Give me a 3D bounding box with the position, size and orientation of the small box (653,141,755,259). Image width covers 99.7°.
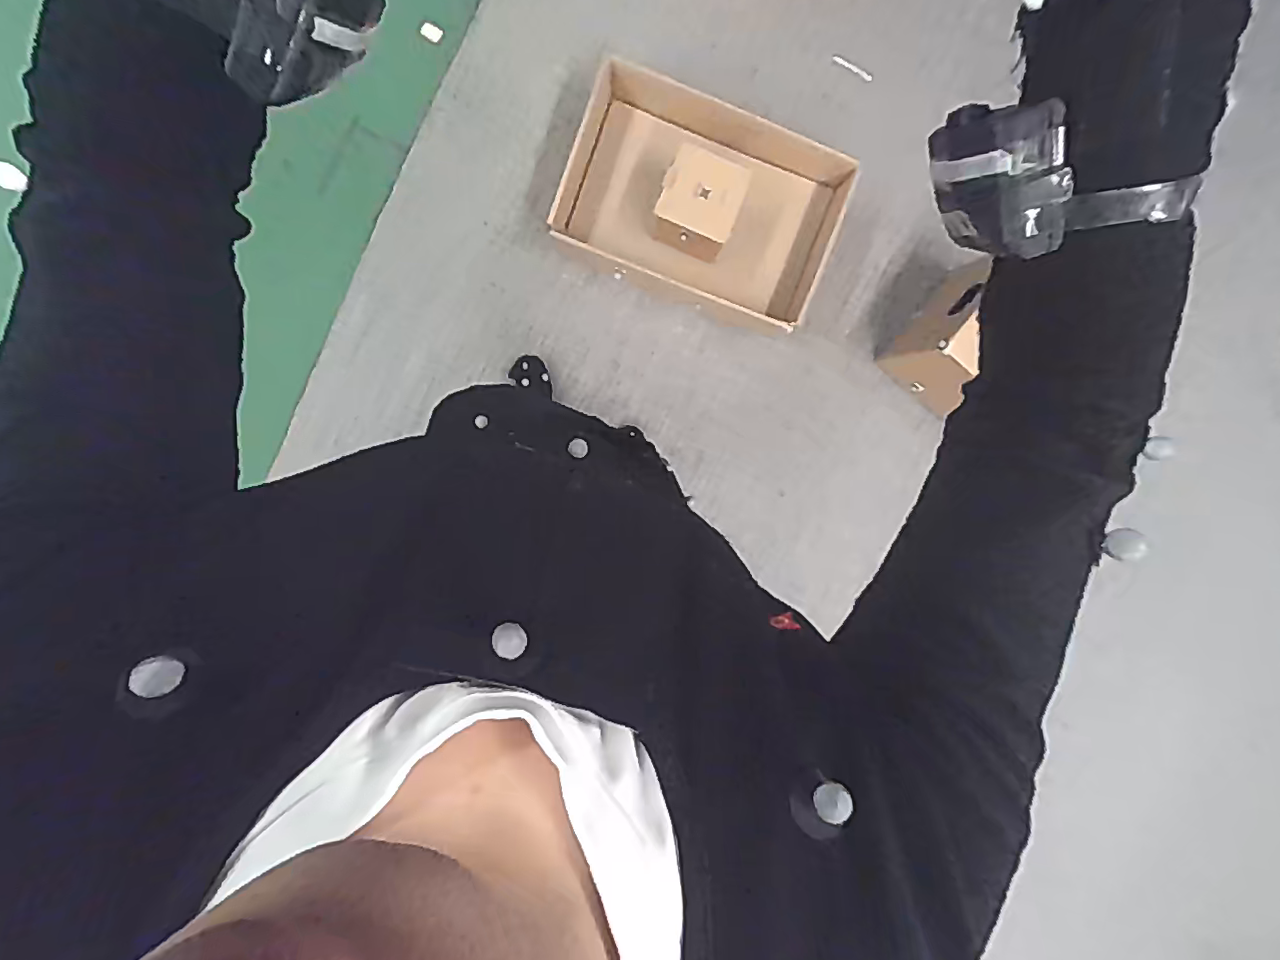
[{"bbox_3d":[0.139,-0.642,1.266,0.179,0.176,0.168,21,96,-6],"label":"small box"}]
